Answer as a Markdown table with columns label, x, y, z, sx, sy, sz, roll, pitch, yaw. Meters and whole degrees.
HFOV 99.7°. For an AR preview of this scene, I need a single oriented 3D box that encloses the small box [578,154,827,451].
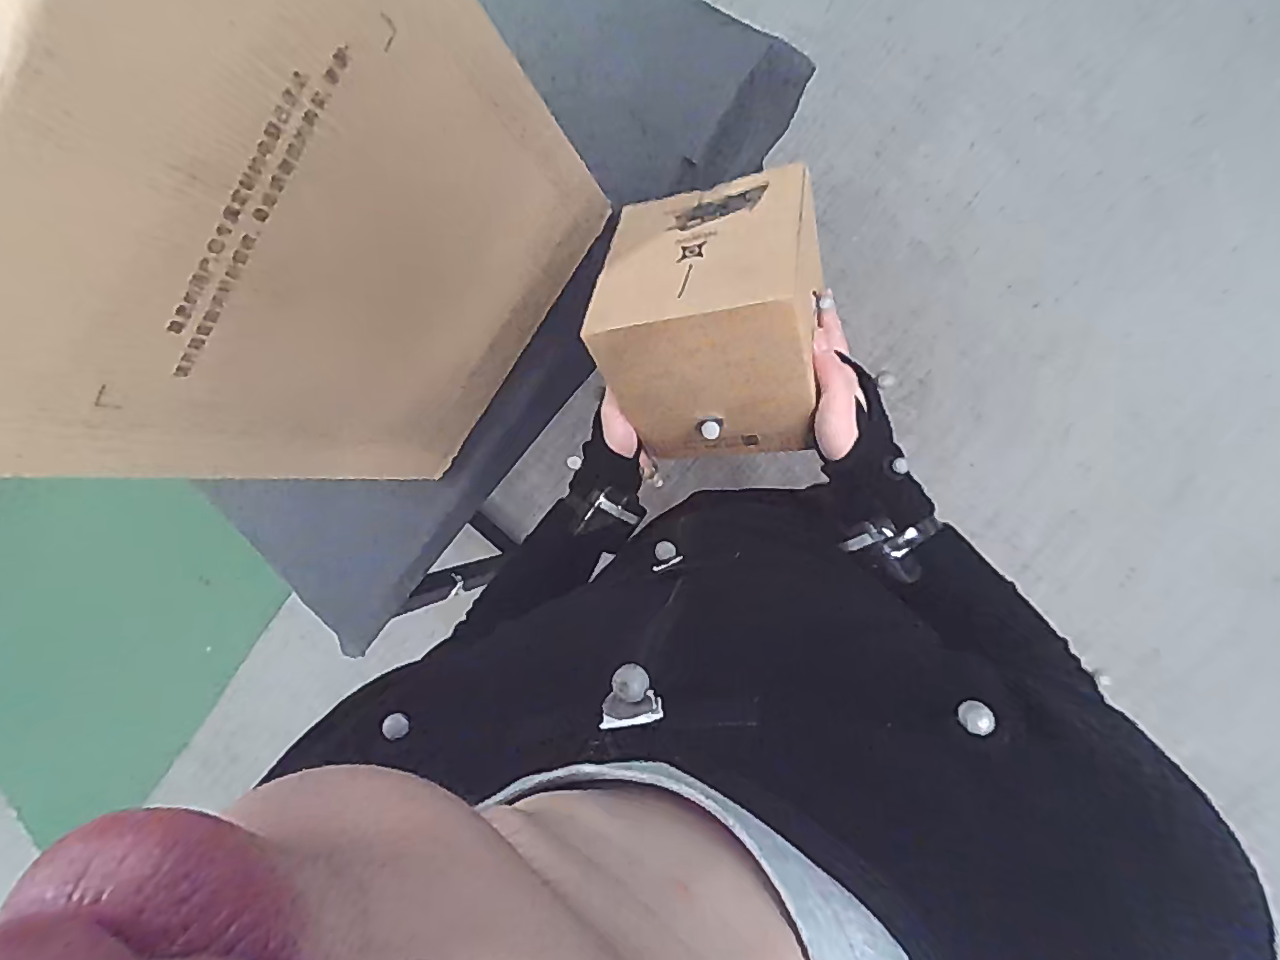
| label | x | y | z | sx | sy | sz | roll | pitch | yaw |
| --- | --- | --- | --- | --- | --- | --- | --- | --- | --- |
| small box | 0.071 | -0.145 | 0.485 | 0.168 | 0.176 | 0.179 | -2 | 57 | 25 |
